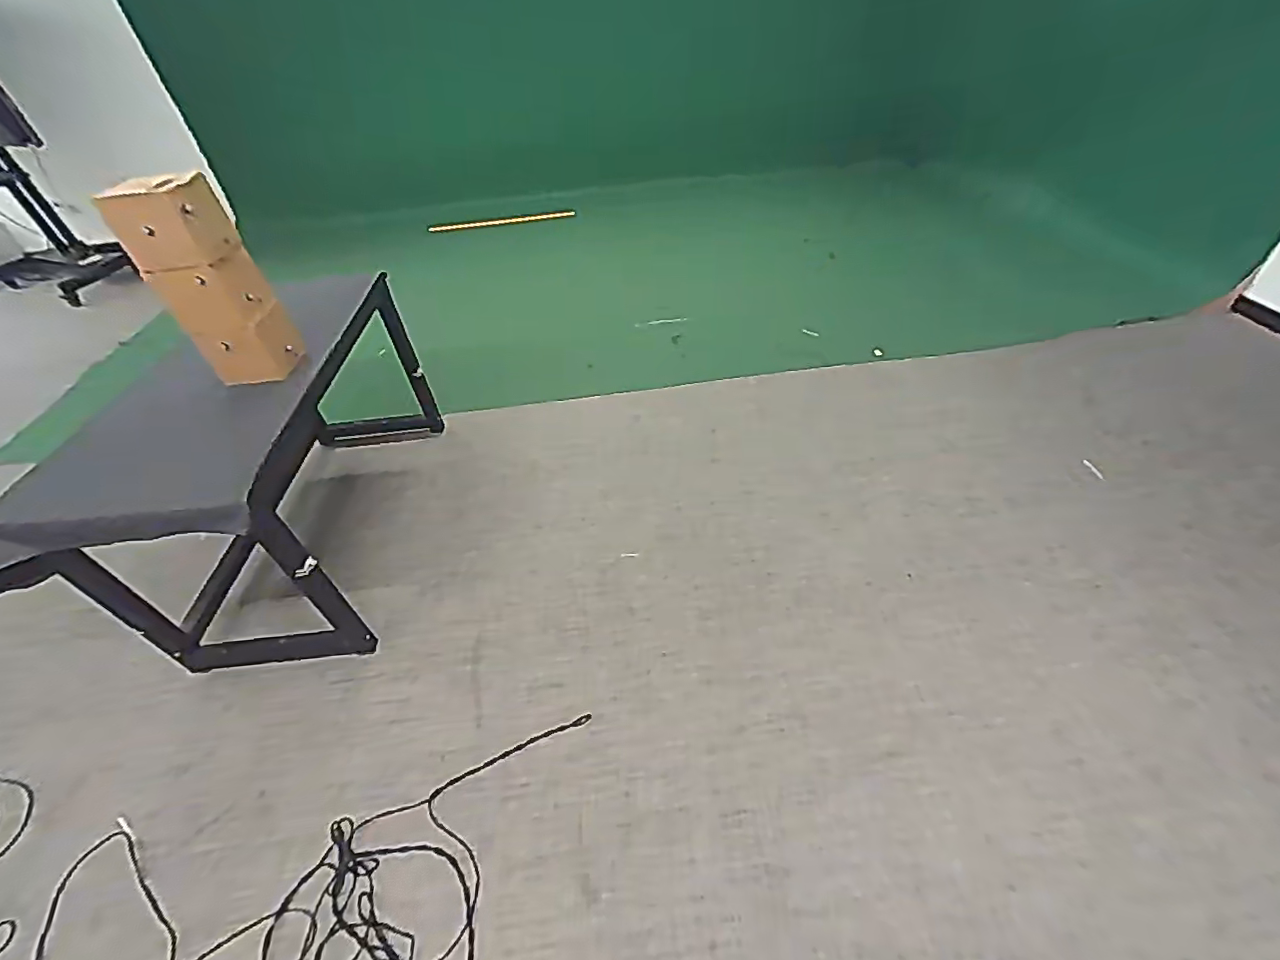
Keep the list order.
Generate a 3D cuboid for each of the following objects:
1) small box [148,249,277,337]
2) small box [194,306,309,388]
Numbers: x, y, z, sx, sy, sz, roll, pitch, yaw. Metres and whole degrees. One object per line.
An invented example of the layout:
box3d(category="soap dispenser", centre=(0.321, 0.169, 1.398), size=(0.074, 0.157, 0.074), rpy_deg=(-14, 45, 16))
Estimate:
box3d(category="small box", centre=(-1.123, -0.495, 1.438), size=(0.179, 0.176, 0.168), rpy_deg=(-6, 43, 1))
box3d(category="small box", centre=(-1.099, -0.377, 1.547), size=(0.179, 0.176, 0.168), rpy_deg=(-6, 44, 1))
